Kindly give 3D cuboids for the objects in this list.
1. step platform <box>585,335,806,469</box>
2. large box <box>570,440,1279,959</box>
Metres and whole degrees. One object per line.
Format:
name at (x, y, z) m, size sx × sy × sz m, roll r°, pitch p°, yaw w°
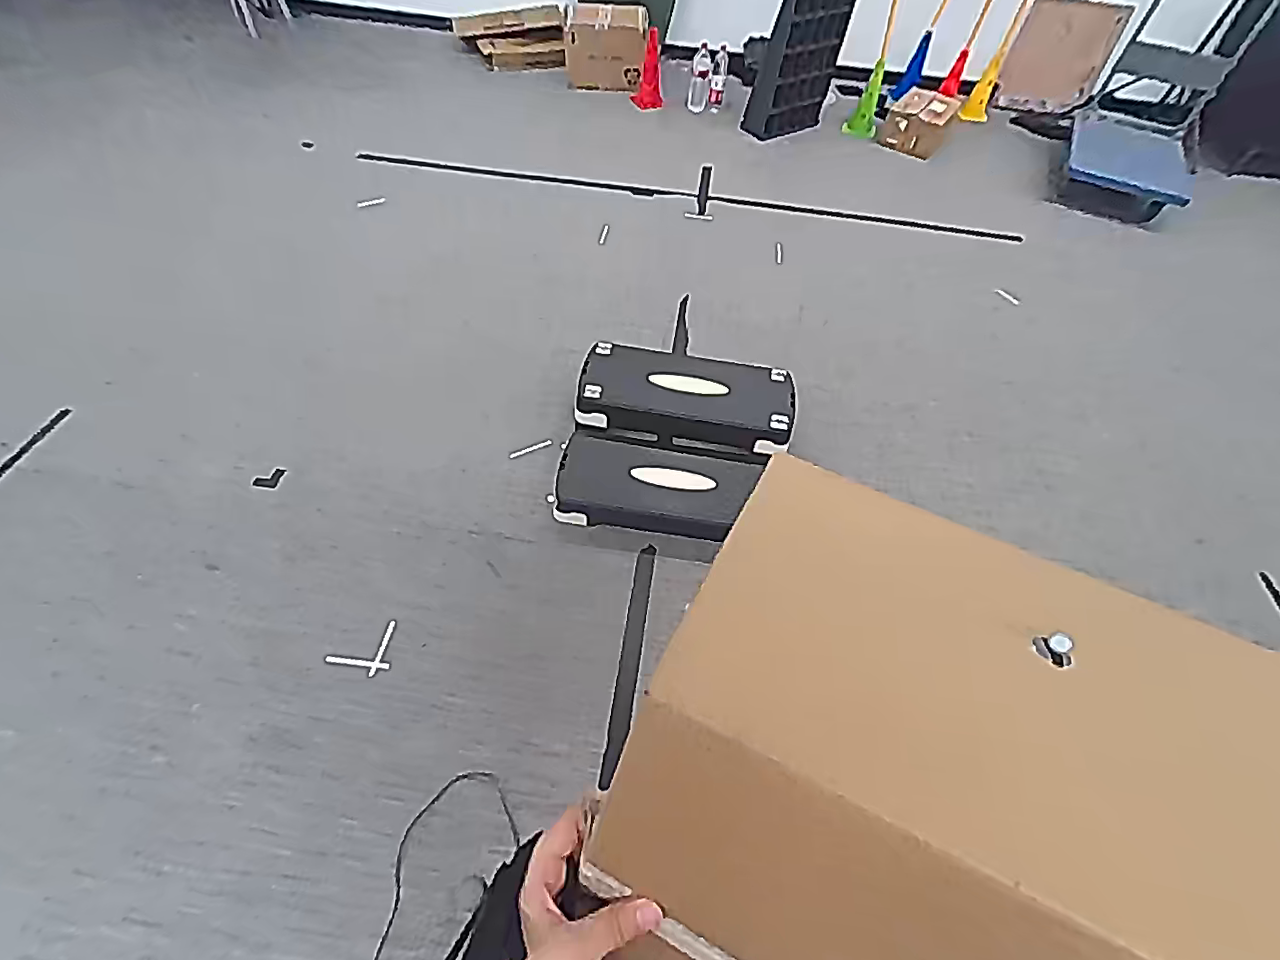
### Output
step platform at (0.174, -0.247, 1.722) m, size 0.684 × 0.204 × 0.286 m, roll 14°, pitch 54°, yaw 4°
large box at (0.215, 0.214, 0.383) m, size 0.408 × 0.320 × 0.320 m, roll 23°, pitch 31°, yaw 14°
